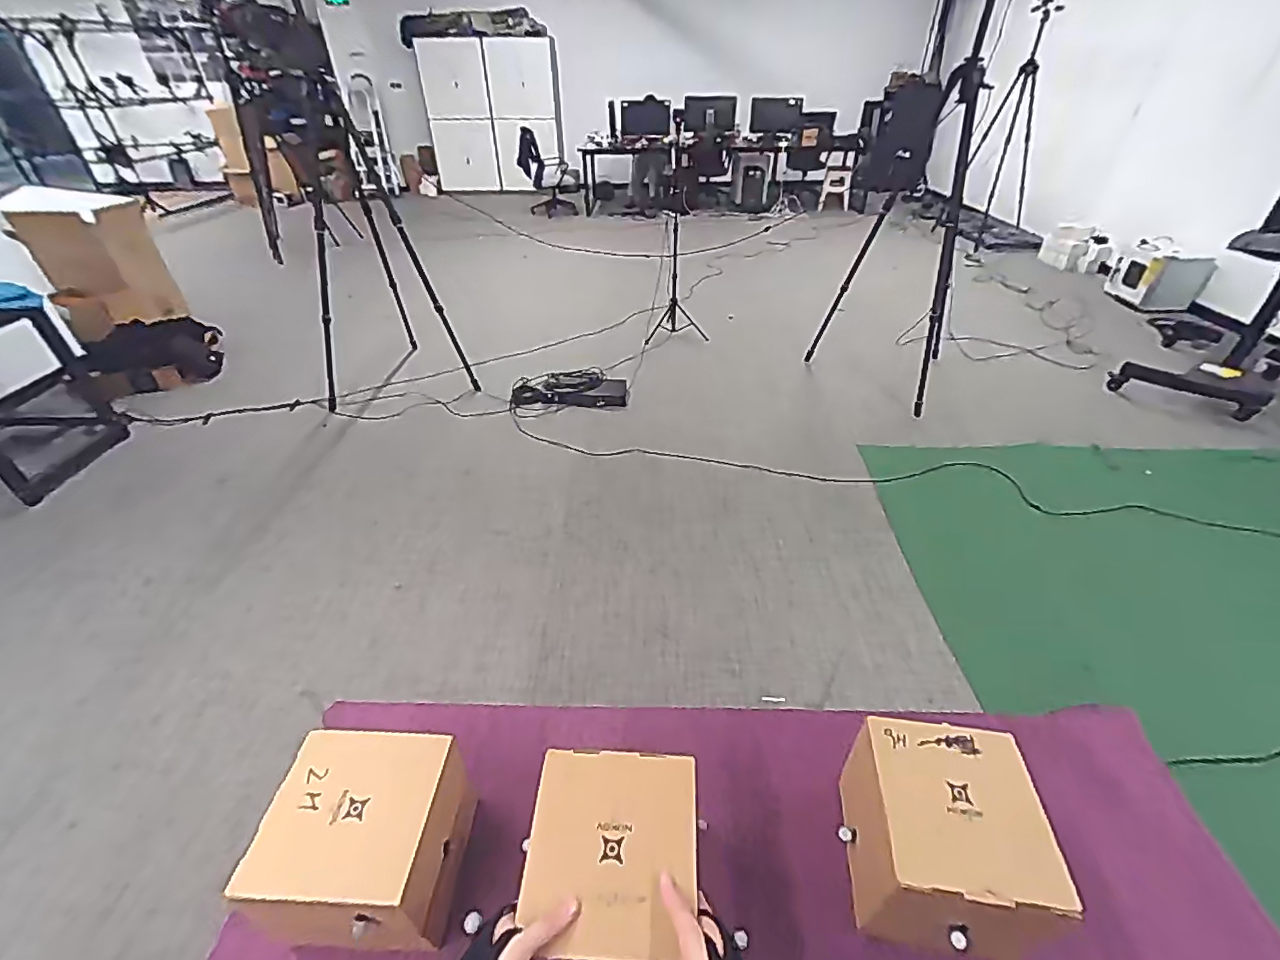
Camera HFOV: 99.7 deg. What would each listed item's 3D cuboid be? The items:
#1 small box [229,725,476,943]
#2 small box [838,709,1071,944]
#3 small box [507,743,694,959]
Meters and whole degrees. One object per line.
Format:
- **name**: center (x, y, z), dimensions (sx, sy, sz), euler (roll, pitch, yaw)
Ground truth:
- **small box**: center (-0.308, 0.411, 0.631), dimensions (0.179, 0.176, 0.168), euler (1, 37, 4)
- **small box**: center (0.336, 0.399, 0.624), dimensions (0.168, 0.176, 0.179), euler (5, 39, 8)
- **small box**: center (-0.028, 0.411, 0.581), dimensions (0.168, 0.176, 0.179), euler (1, 42, 4)
